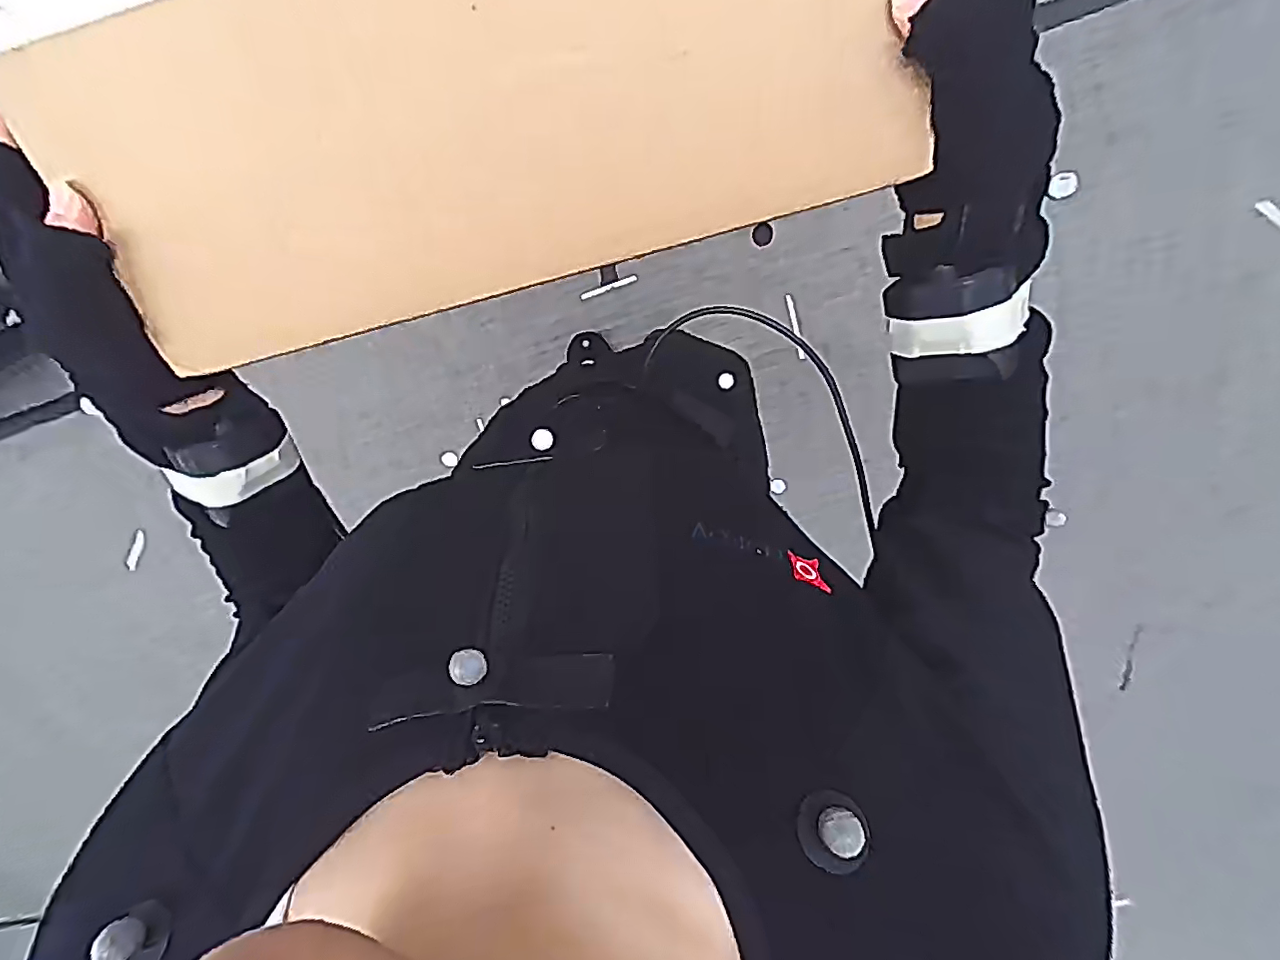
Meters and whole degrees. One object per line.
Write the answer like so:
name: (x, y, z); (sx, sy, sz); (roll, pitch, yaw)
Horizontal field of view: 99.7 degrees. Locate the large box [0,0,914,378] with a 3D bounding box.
large box: (-0.094, -0.303, 0.352); (0.408, 0.320, 0.320); (-13, 116, 6)
